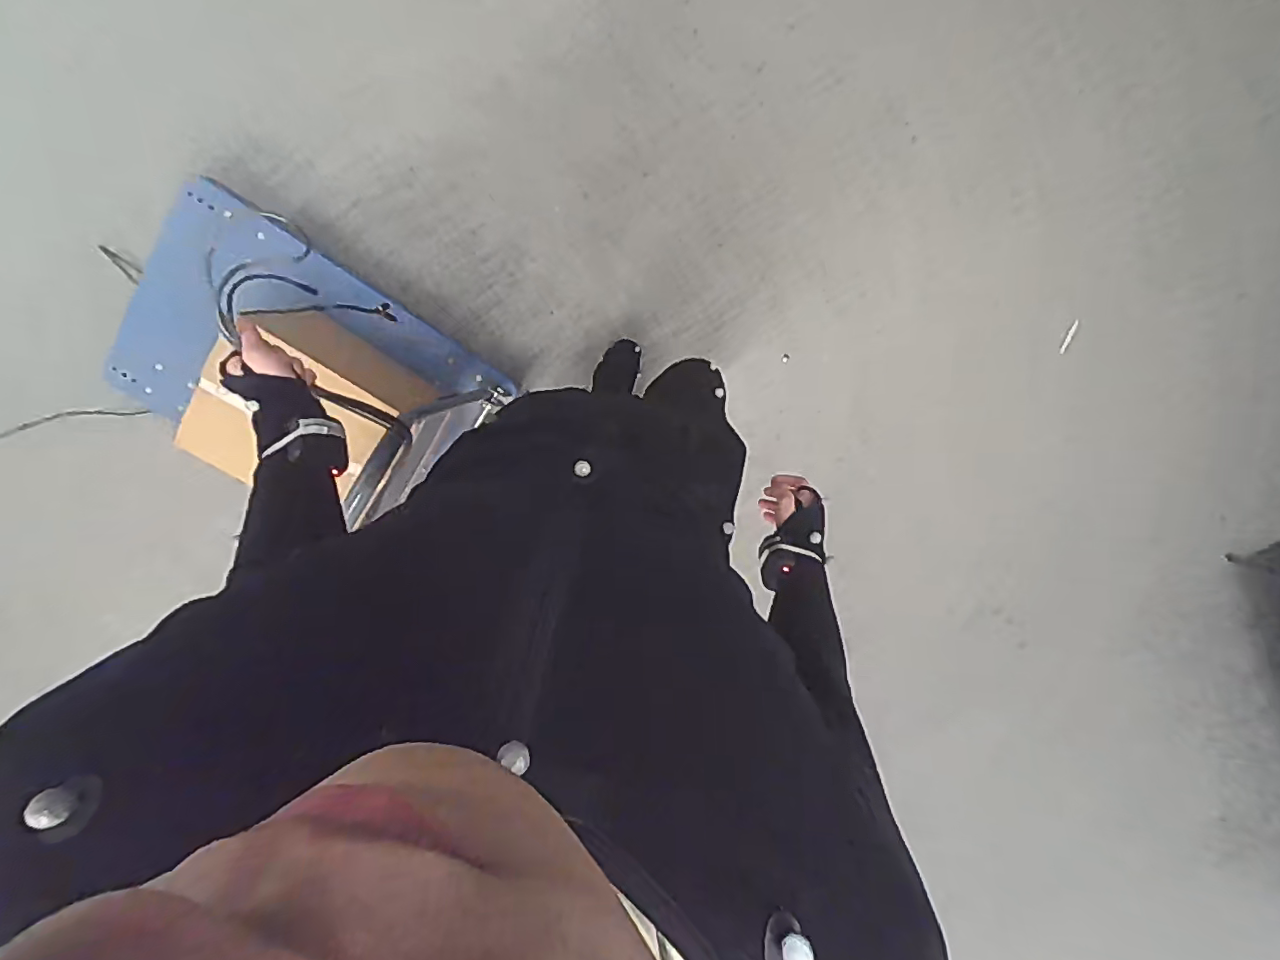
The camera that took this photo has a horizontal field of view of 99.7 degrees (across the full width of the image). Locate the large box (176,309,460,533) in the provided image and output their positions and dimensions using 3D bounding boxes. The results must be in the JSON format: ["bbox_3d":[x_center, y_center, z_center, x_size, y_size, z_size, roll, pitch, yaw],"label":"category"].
[{"bbox_3d":[-0.696,-0.148,1.237,0.408,0.320,0.320,33,103,-11],"label":"large box"}]
